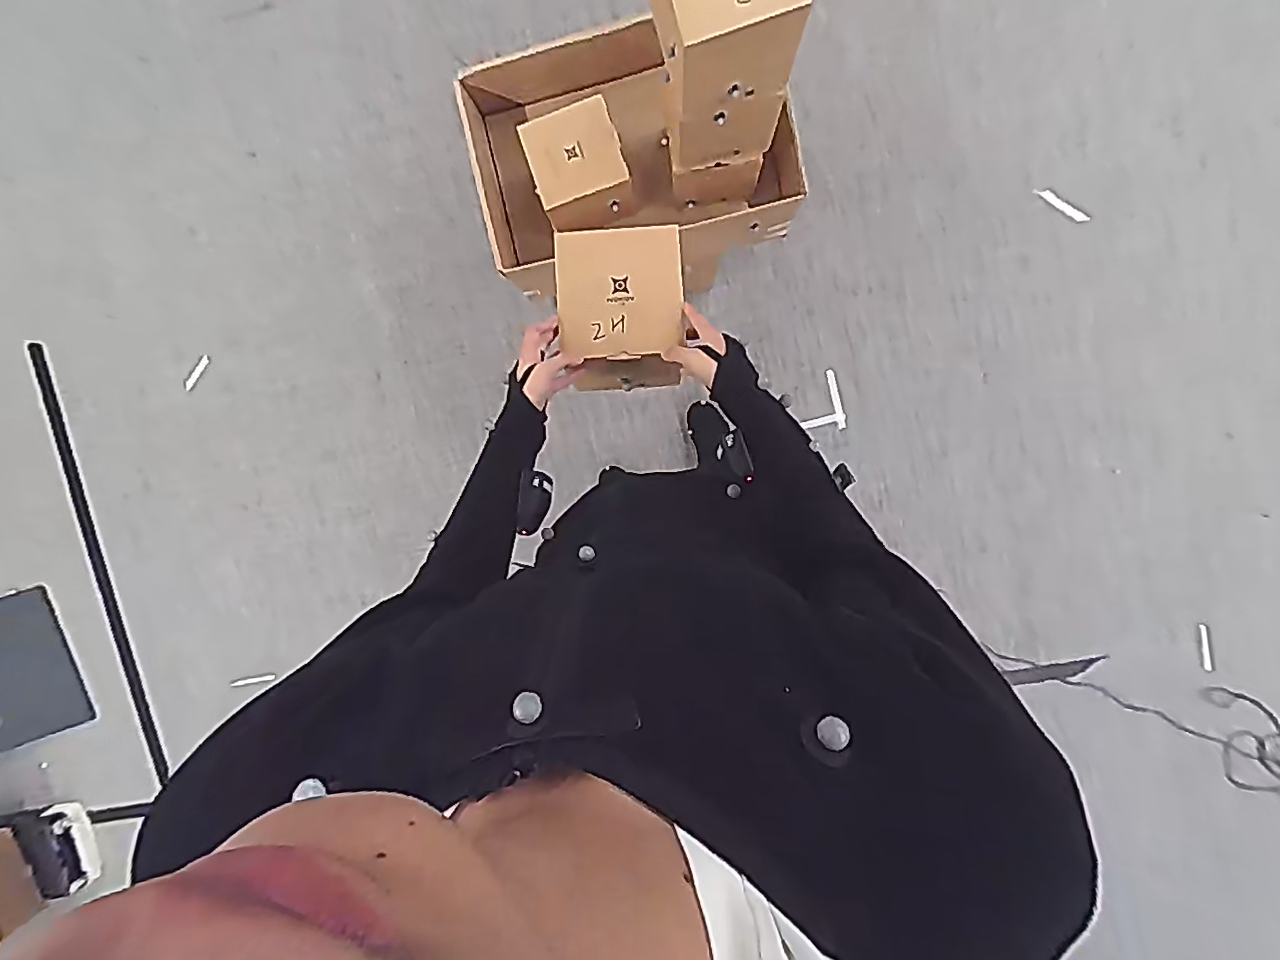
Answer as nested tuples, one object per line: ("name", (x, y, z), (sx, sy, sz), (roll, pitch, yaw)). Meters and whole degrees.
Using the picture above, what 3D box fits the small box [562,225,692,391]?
("small box", (-0.017, -0.237, 0.780), (0.168, 0.176, 0.179), (-4, 87, 1))

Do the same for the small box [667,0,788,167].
("small box", (0.137, -0.663, 0.898), (0.168, 0.176, 0.179), (-9, 93, 5))
